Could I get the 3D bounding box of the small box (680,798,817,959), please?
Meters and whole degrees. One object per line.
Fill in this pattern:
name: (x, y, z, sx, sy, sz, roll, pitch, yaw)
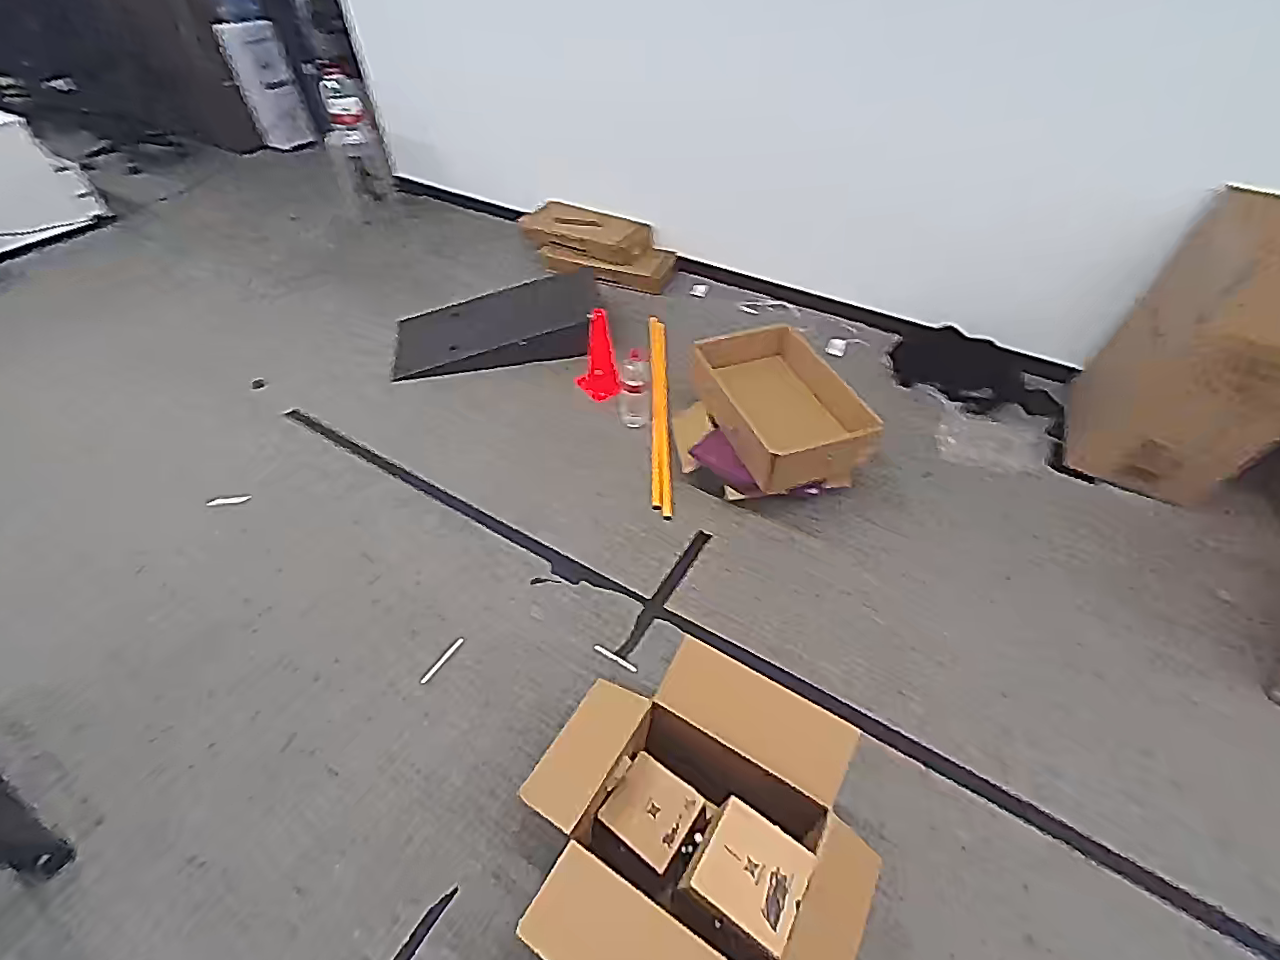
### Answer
small box: (0.193, 0.731, 1.000, 0.179, 0.176, 0.168, 29, 54, 19)
